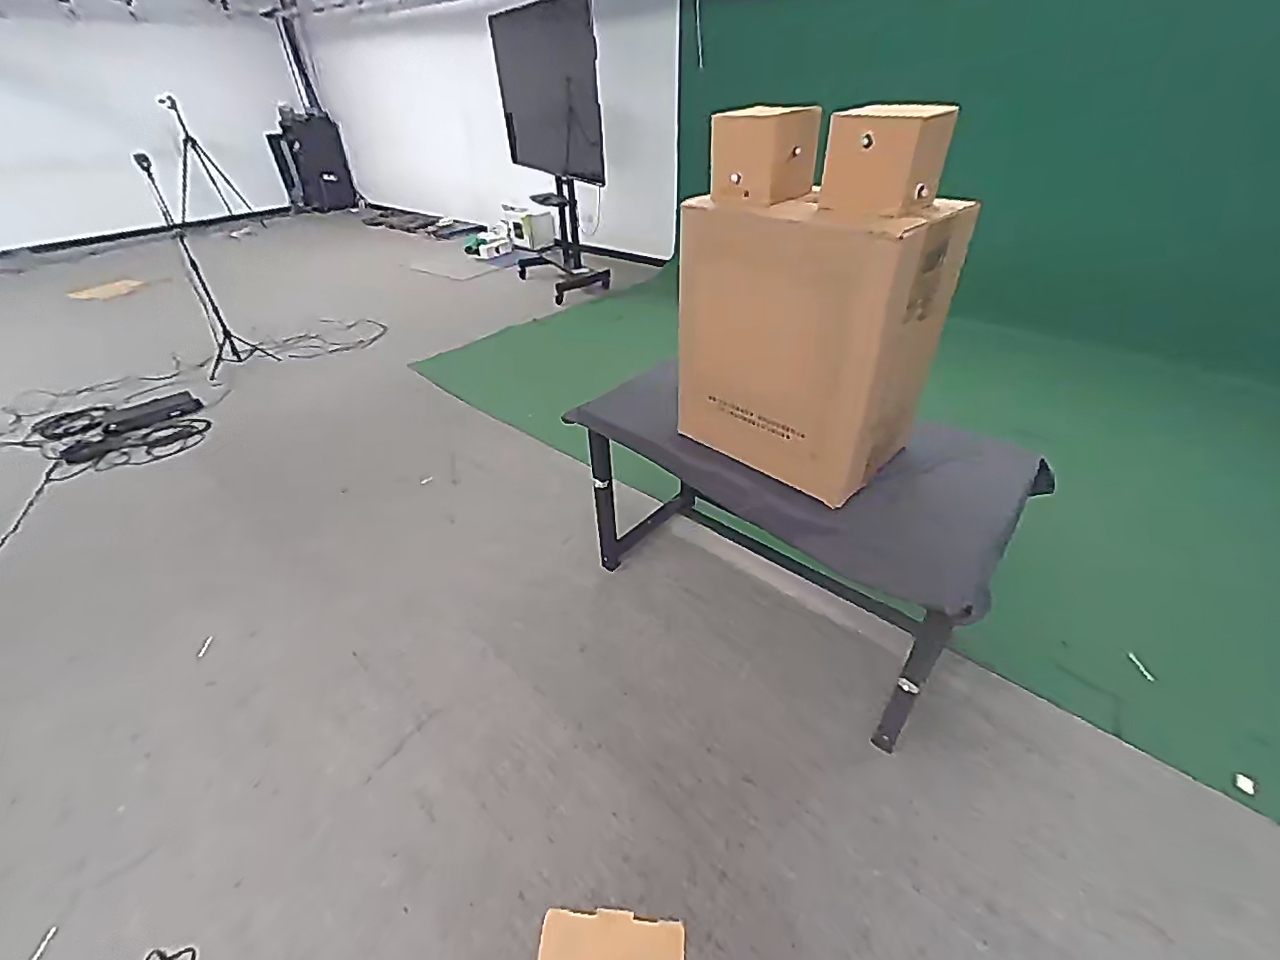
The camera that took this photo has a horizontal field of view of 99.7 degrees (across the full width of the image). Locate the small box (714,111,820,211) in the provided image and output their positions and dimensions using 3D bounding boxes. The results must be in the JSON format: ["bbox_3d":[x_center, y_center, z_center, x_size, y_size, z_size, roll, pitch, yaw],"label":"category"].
[{"bbox_3d":[0.279,-0.724,1.221,0.179,0.176,0.168,-33,46,-32],"label":"small box"}]

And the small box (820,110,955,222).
[{"bbox_3d":[0.485,-0.629,1.082,0.179,0.176,0.168,31,50,33],"label":"small box"}]

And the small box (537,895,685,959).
[{"bbox_3d":[-0.038,0.618,0.620,0.168,0.176,0.179,3,37,5],"label":"small box"}]
